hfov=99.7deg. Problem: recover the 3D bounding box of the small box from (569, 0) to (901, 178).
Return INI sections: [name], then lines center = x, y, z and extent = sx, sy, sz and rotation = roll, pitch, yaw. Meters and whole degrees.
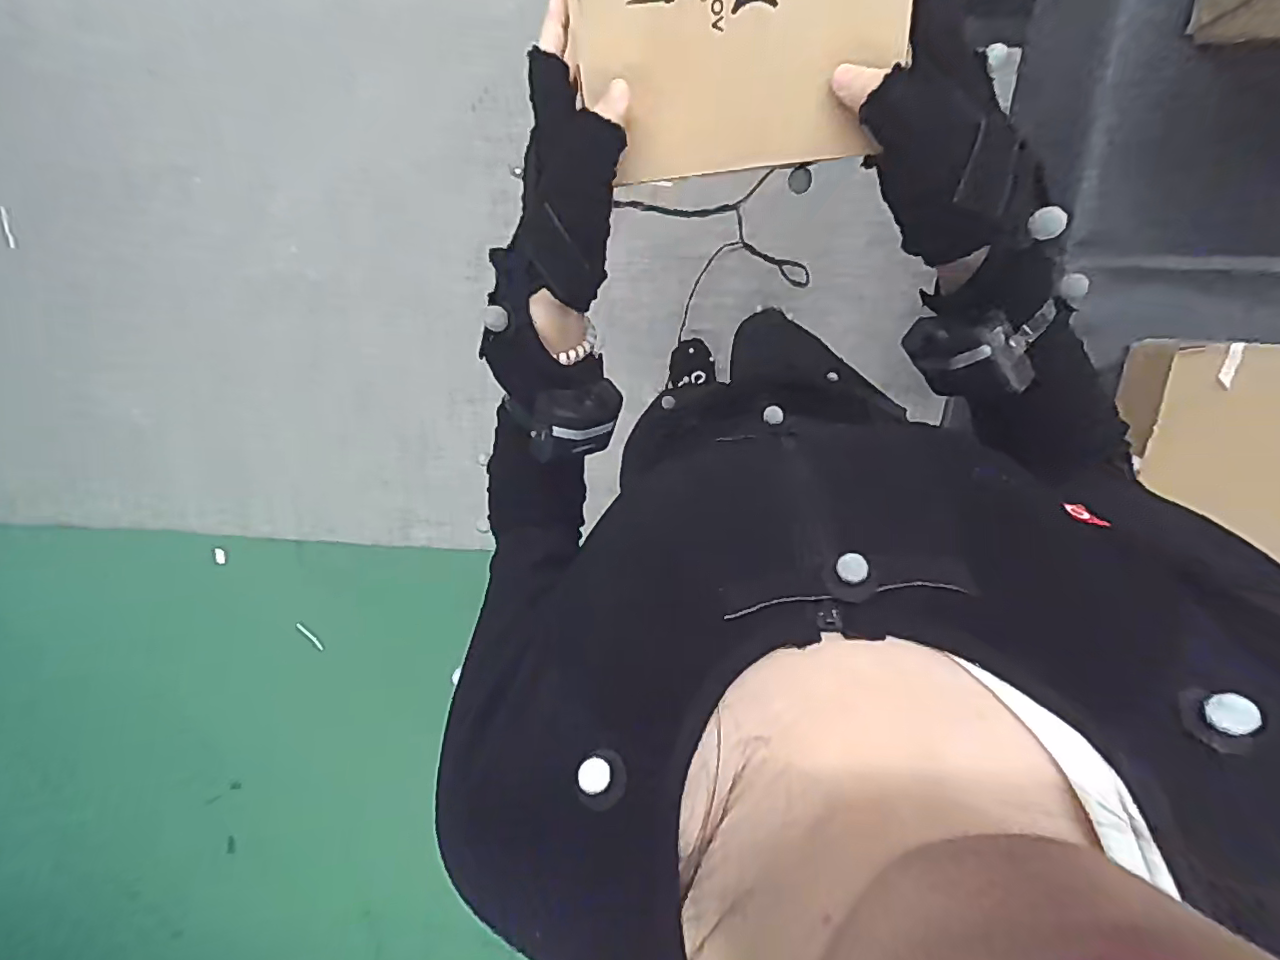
[small box]
center = 0.051, -0.296, 0.346
extent = 0.179, 0.176, 0.168
rotation = -3, 119, 5
